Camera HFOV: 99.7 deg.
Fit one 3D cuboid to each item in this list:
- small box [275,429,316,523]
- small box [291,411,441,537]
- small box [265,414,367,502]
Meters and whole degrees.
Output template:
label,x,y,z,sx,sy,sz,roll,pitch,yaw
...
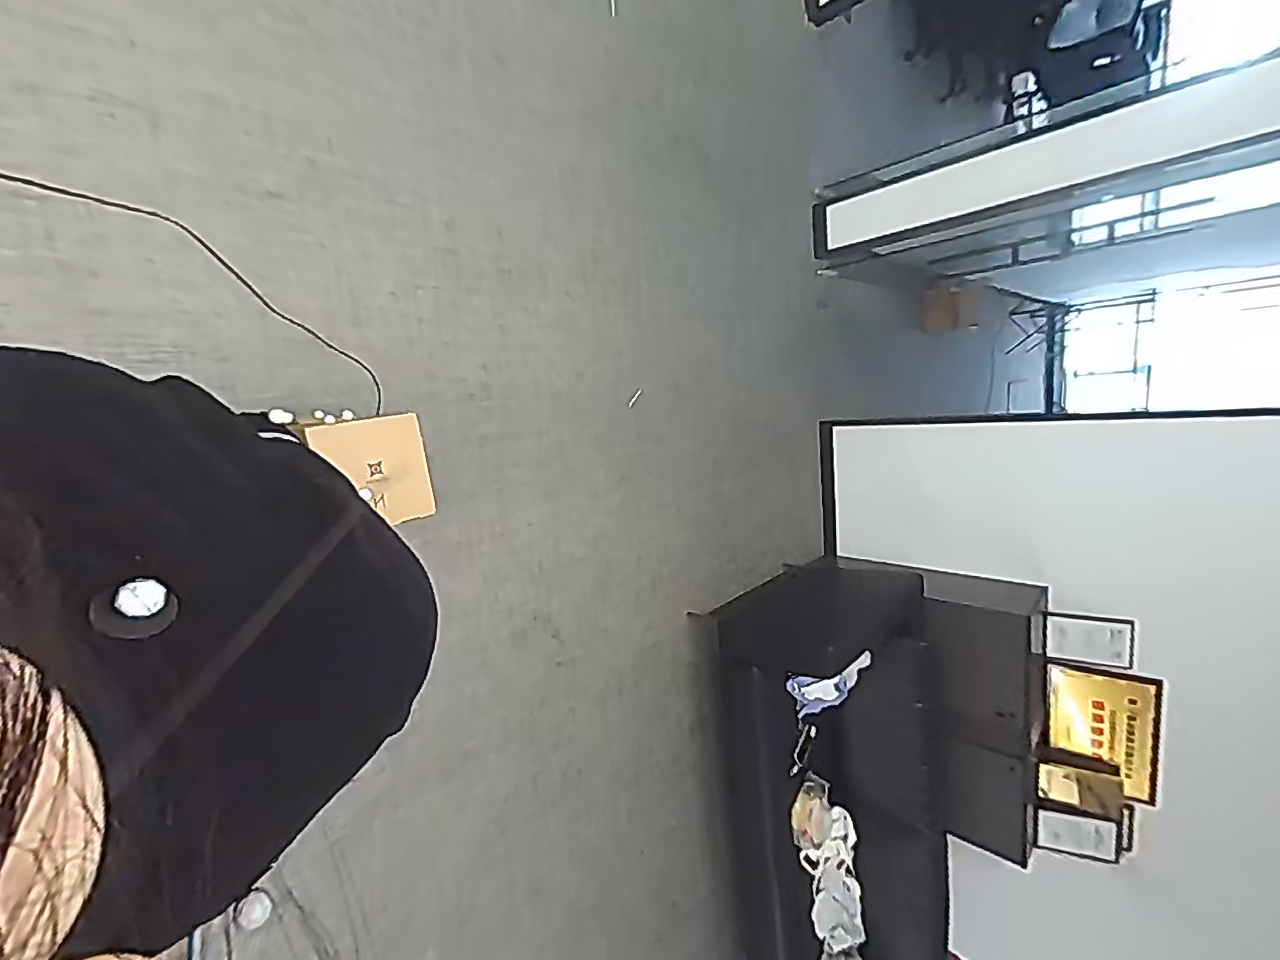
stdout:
label,x,y,z,sx,sy,sz,roll,pitch,yaw
small box,-0.572,-0.023,1.030,0.179,0.176,0.168,-18,105,-42
small box,-0.462,-0.016,0.908,0.168,0.176,0.179,-17,104,-41
small box,-0.676,-0.041,1.156,0.168,0.176,0.179,-18,106,-41
